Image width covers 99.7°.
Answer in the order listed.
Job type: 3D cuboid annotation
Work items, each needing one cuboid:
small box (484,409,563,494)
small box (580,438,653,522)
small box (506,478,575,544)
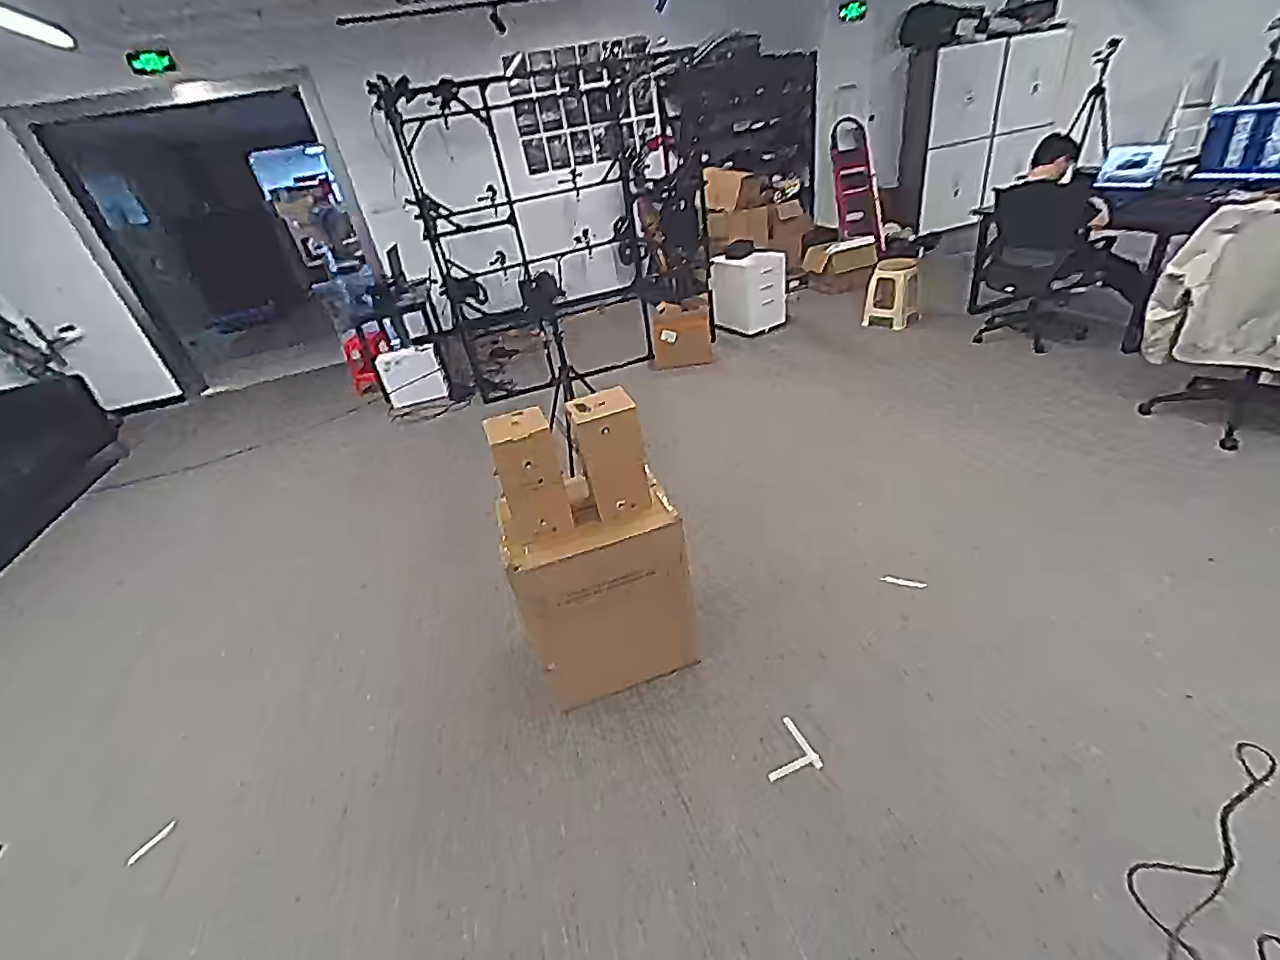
[{"bbox_3d":[-0.329,-0.076,1.532,0.168,0.176,0.179,-18,33,-13],"label":"small box"},{"bbox_3d":[-0.071,0.000,1.651,0.168,0.176,0.179,-19,34,-9],"label":"small box"},{"bbox_3d":[-0.304,0.063,1.617,0.168,0.176,0.179,-17,33,-12],"label":"small box"}]
